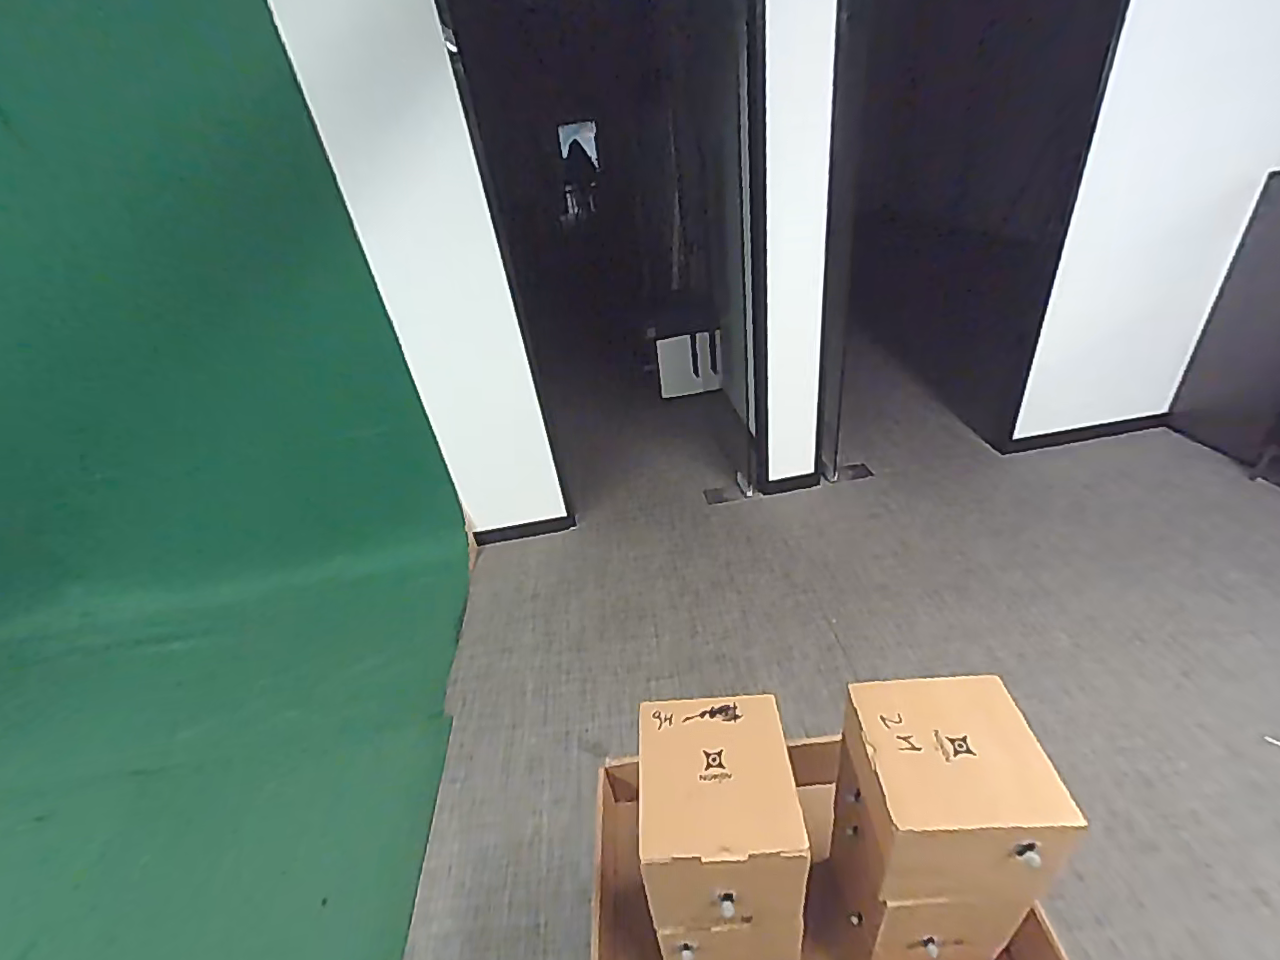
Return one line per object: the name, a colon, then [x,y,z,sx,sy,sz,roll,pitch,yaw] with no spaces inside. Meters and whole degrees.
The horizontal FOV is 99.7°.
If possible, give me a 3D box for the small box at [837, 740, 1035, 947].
small box: [0.367,0.476,0.714,0.168,0.176,0.179,-7,34,6]
